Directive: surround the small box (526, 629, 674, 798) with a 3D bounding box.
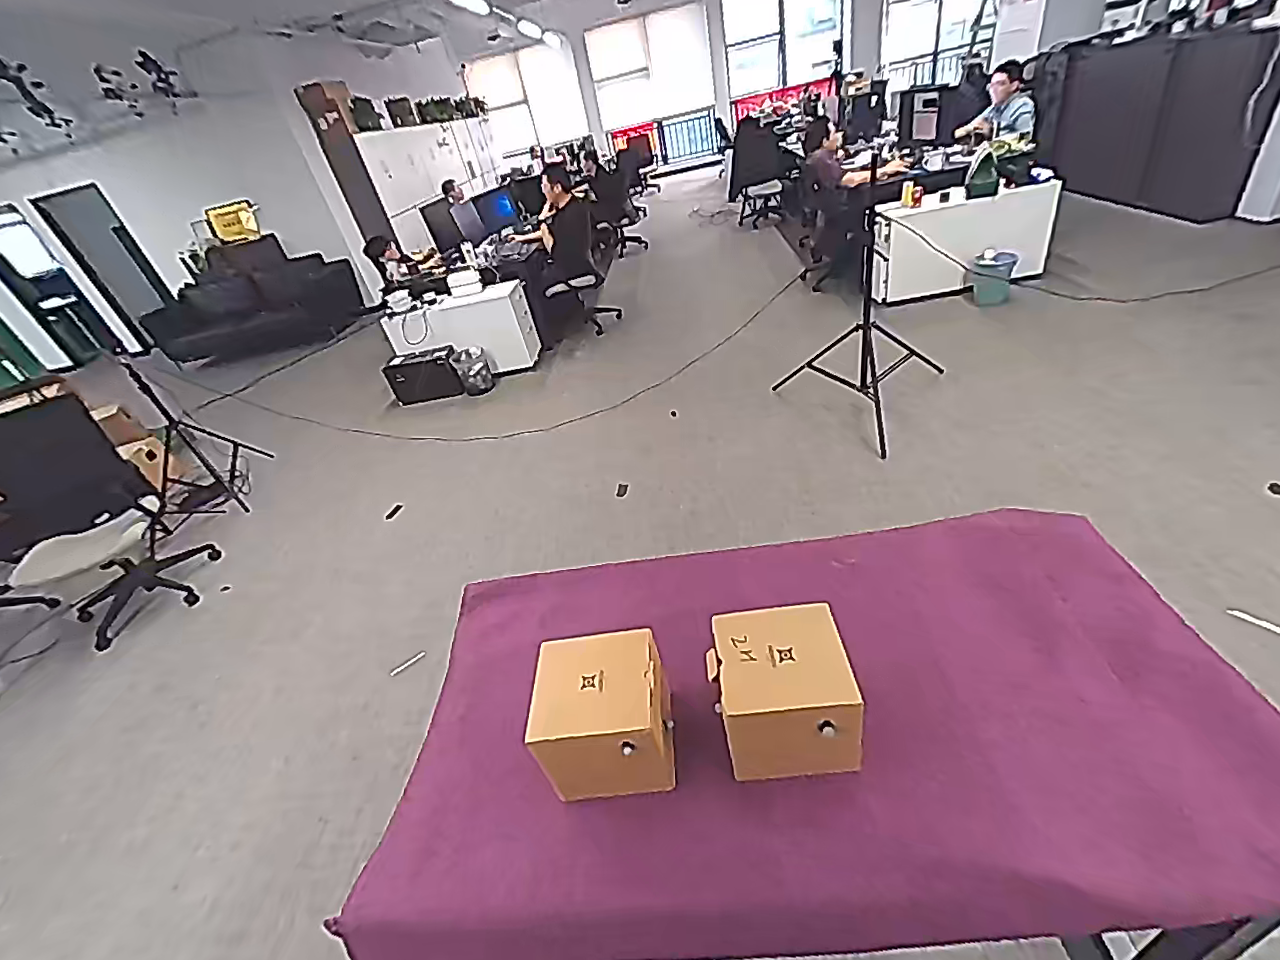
[{"bbox_3d":[-0.052,0.354,0.816,0.179,0.176,0.168,-9,34,5],"label":"small box"}]

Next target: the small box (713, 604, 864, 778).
[{"bbox_3d":[0.209,0.308,0.786,0.179,0.176,0.168,-10,34,7],"label":"small box"}]
